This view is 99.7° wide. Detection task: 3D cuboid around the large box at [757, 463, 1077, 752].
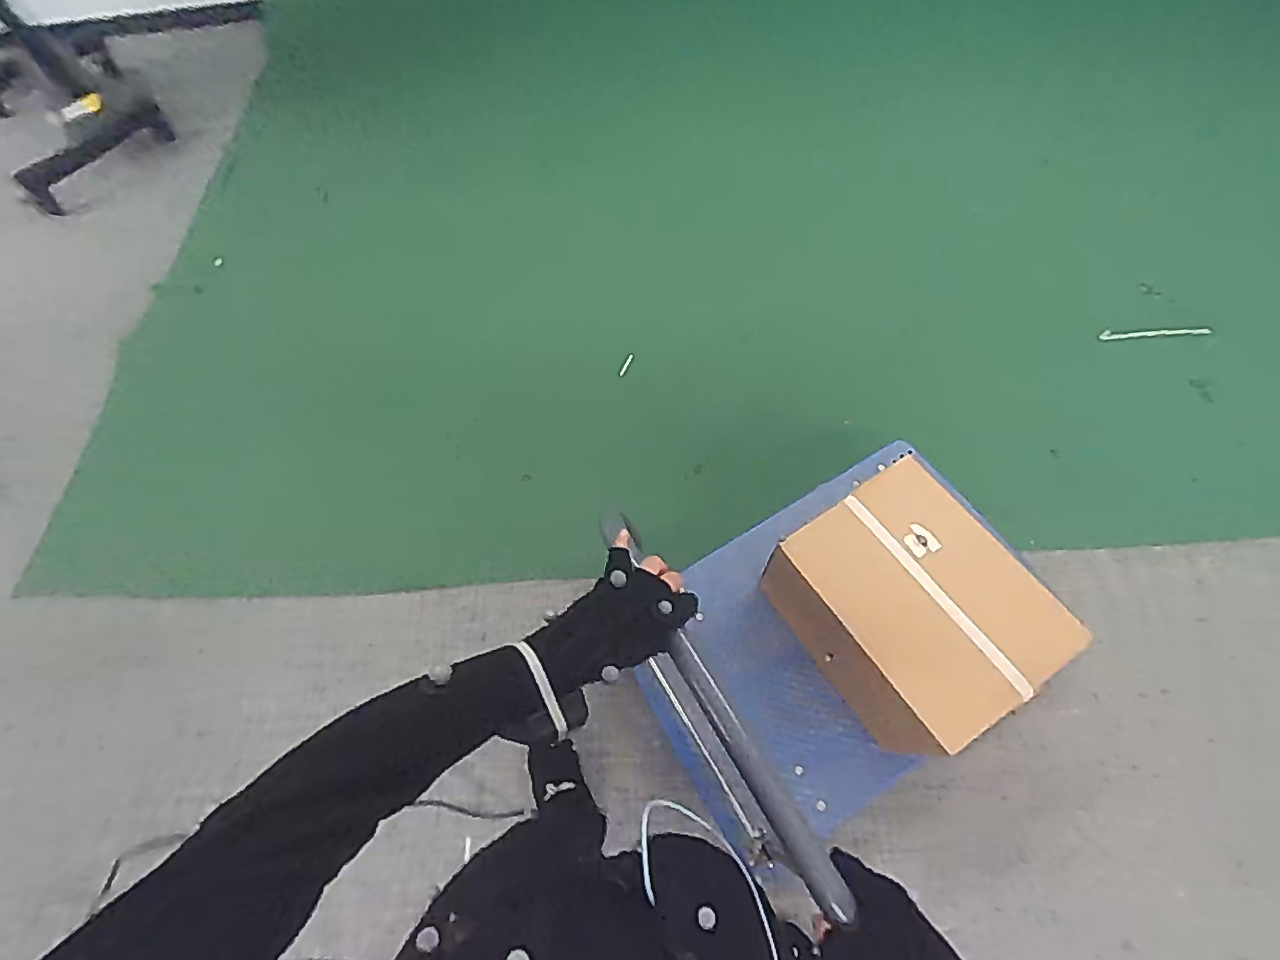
[{"bbox_3d":[0.484,0.253,1.051,0.320,0.320,0.408,-32,66,-11],"label":"large box"}]
